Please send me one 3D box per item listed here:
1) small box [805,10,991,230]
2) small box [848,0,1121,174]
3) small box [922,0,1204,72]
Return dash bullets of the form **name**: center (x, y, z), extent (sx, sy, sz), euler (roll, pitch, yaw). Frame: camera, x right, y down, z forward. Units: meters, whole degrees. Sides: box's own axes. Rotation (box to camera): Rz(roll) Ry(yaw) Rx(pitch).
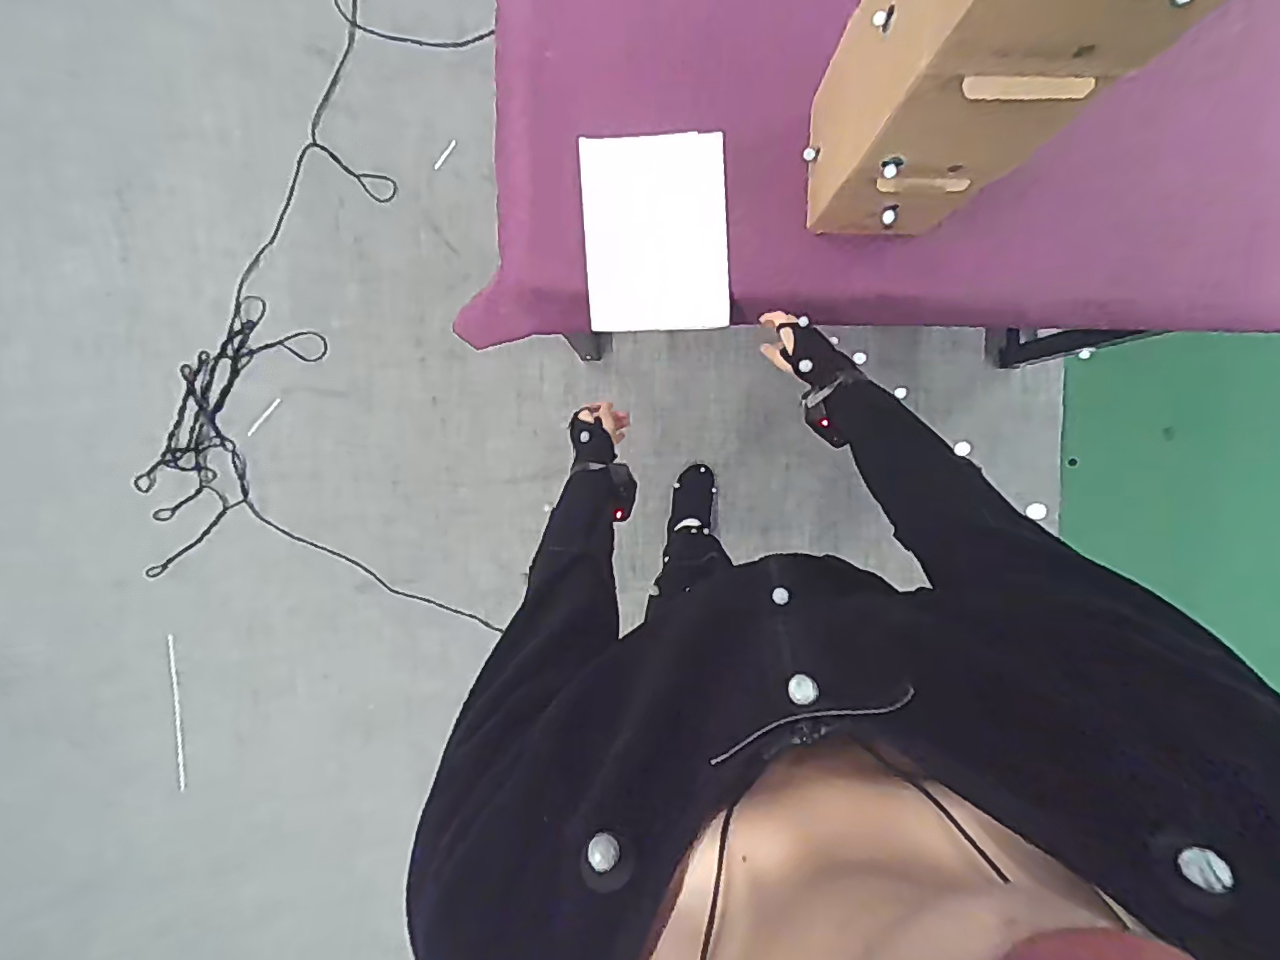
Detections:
- **small box**: center (0.311, -0.427, 0.670), extent (0.168, 0.176, 0.179), euler (1, 93, 1)
- **small box**: center (0.307, -0.413, 0.505), extent (0.168, 0.176, 0.179), euler (2, 92, 1)
- **small box**: center (0.303, -0.402, 0.343), extent (0.168, 0.176, 0.179), euler (2, 92, 1)
